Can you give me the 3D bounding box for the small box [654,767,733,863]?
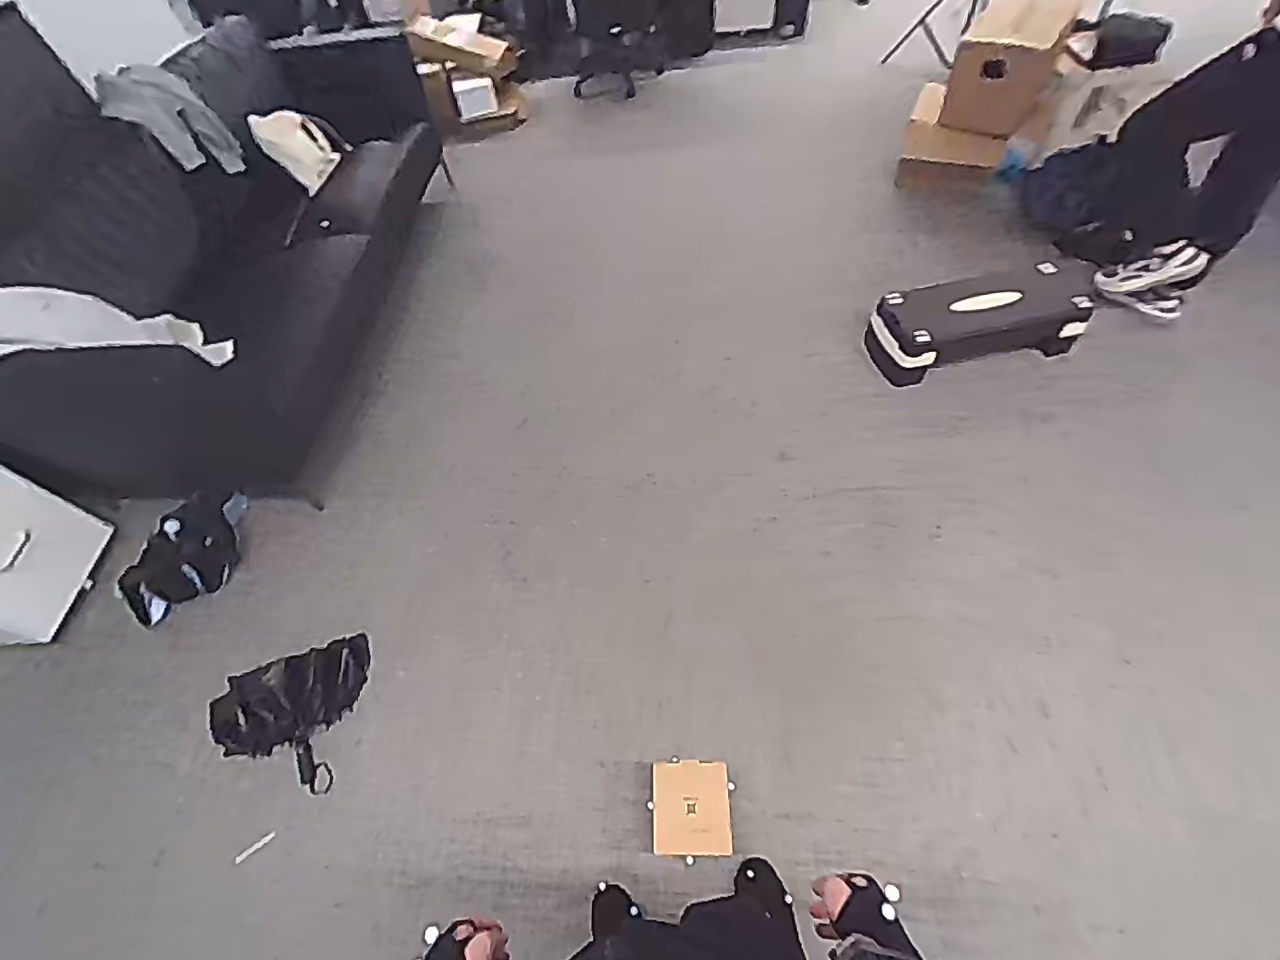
[{"bbox_3d":[0.119,0.761,1.226,0.168,0.176,0.179,-4,56,6],"label":"small box"}]
